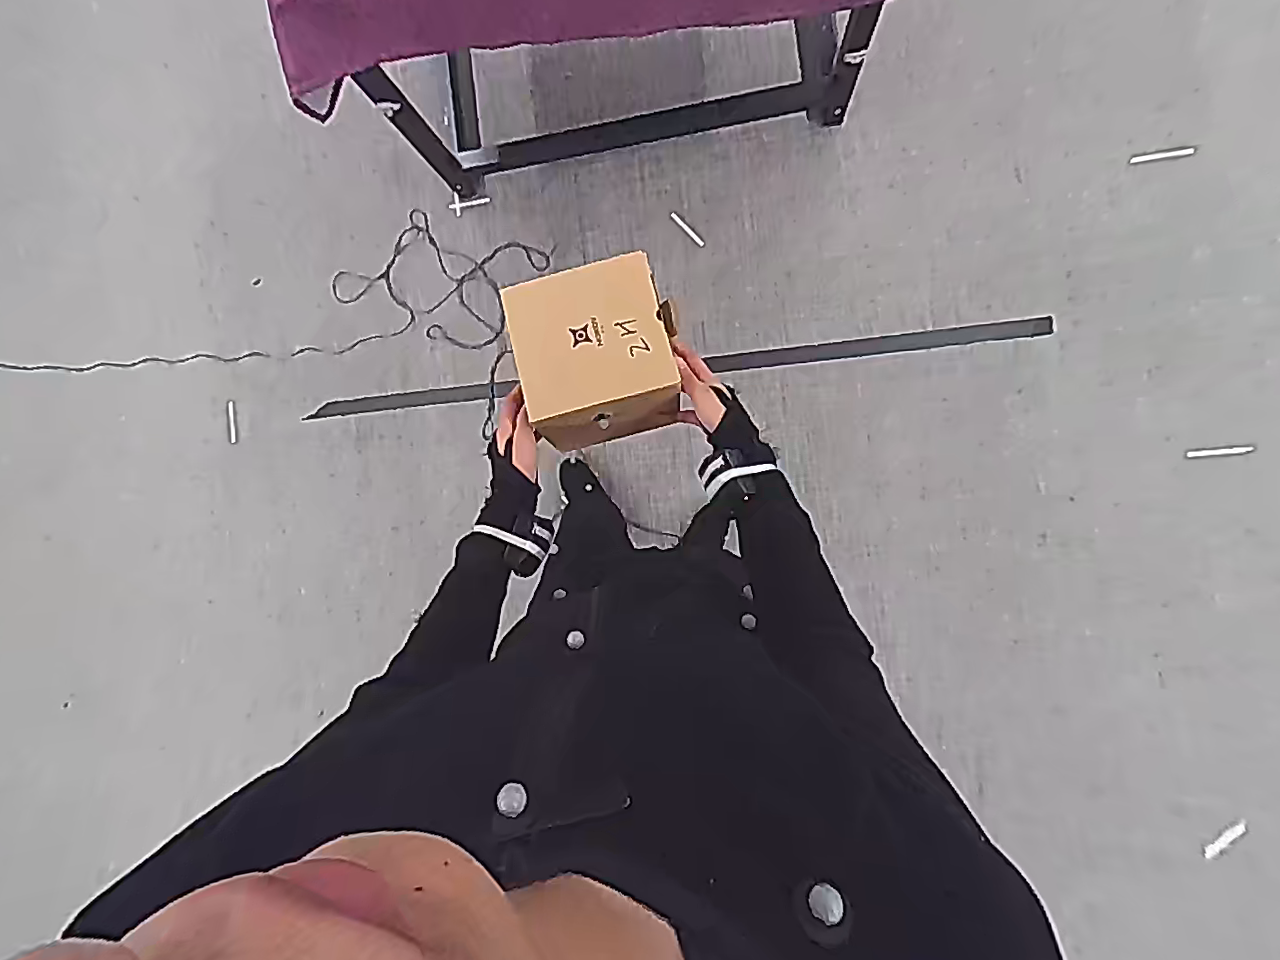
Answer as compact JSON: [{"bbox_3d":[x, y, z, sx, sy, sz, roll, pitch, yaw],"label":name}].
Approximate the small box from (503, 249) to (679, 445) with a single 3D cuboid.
[{"bbox_3d":[-0.052,-0.153,0.684,0.179,0.176,0.168,-14,81,1],"label":"small box"}]
